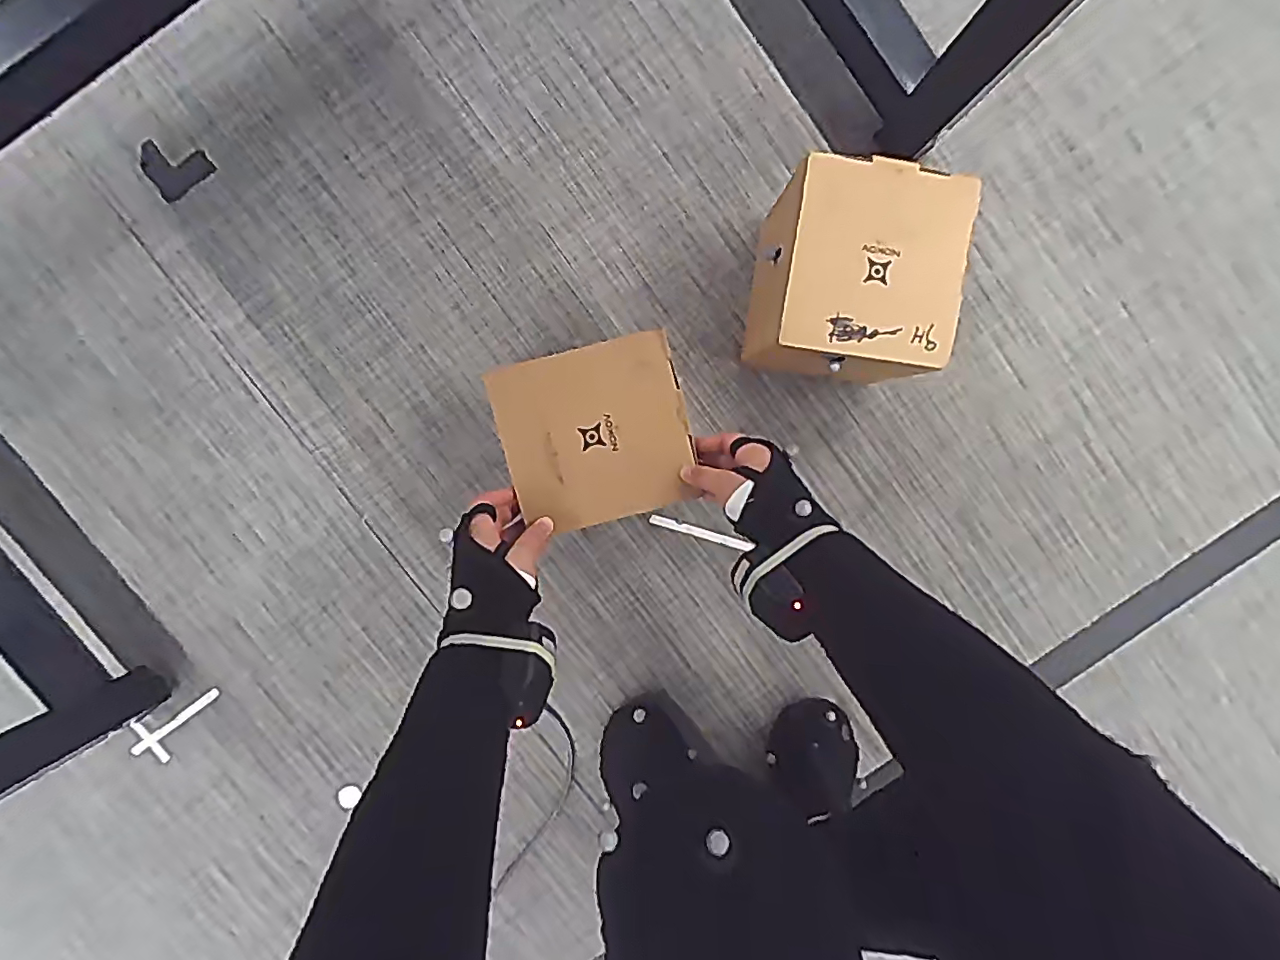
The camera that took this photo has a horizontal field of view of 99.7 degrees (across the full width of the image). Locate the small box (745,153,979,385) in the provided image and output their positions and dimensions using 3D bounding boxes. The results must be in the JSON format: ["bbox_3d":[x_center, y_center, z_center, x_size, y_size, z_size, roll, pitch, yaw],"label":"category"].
[{"bbox_3d":[0.217,-0.206,0.576,0.168,0.176,0.179,7,94,-2],"label":"small box"}]

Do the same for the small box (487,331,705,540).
[{"bbox_3d":[-0.042,-0.048,0.586,0.179,0.176,0.168,-15,94,1],"label":"small box"}]
